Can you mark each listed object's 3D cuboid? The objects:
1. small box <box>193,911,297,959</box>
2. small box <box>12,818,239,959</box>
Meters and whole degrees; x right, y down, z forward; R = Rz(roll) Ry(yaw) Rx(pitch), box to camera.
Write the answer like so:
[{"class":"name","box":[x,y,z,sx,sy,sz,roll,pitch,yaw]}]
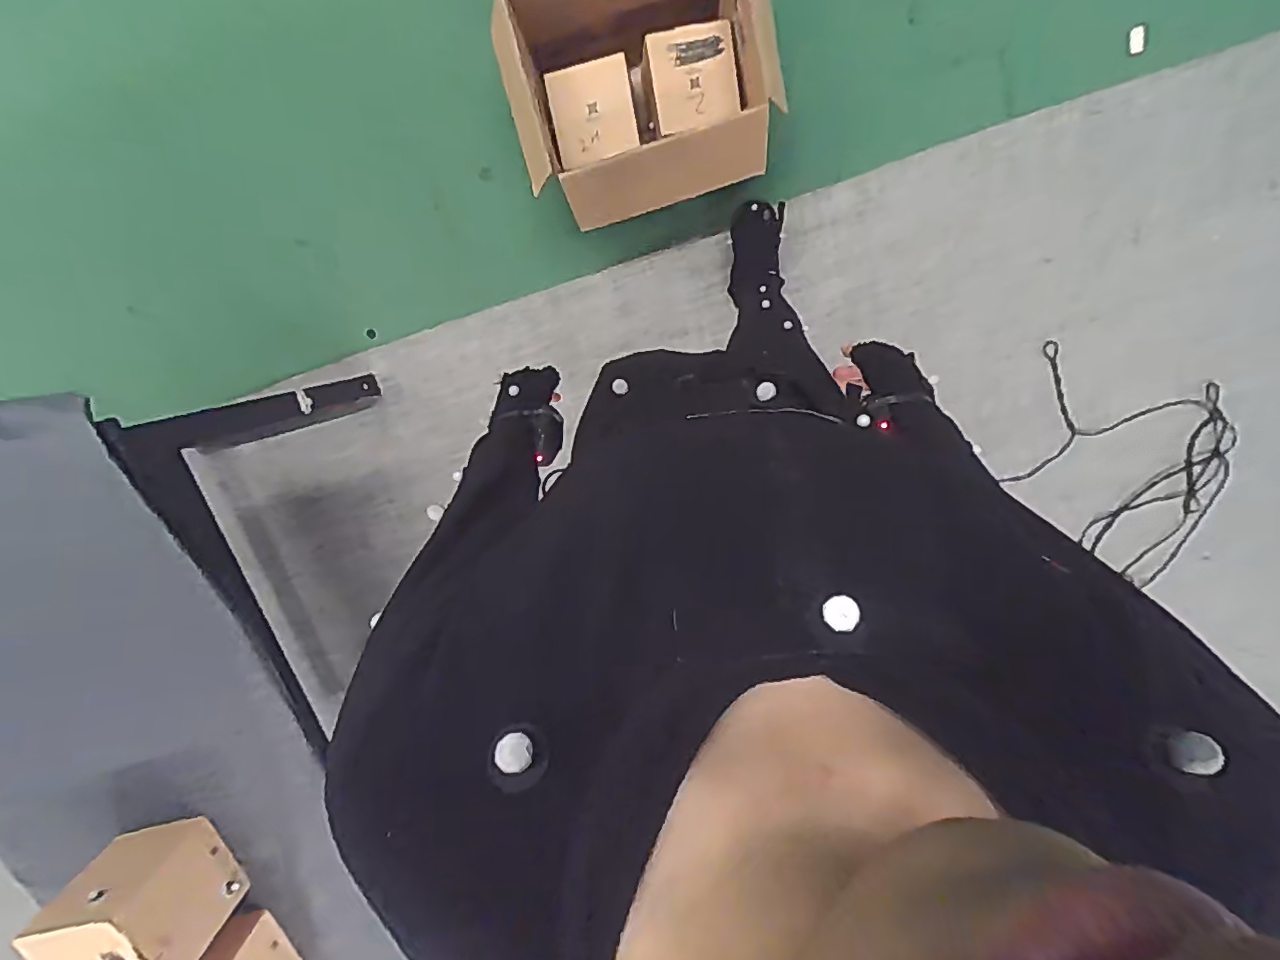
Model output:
[{"class":"small box","box":[-0.727,0.882,0.922,0.179,0.176,0.168,-16,106,7]},{"class":"small box","box":[-0.792,0.677,0.861,0.179,0.176,0.168,-16,105,7]}]
